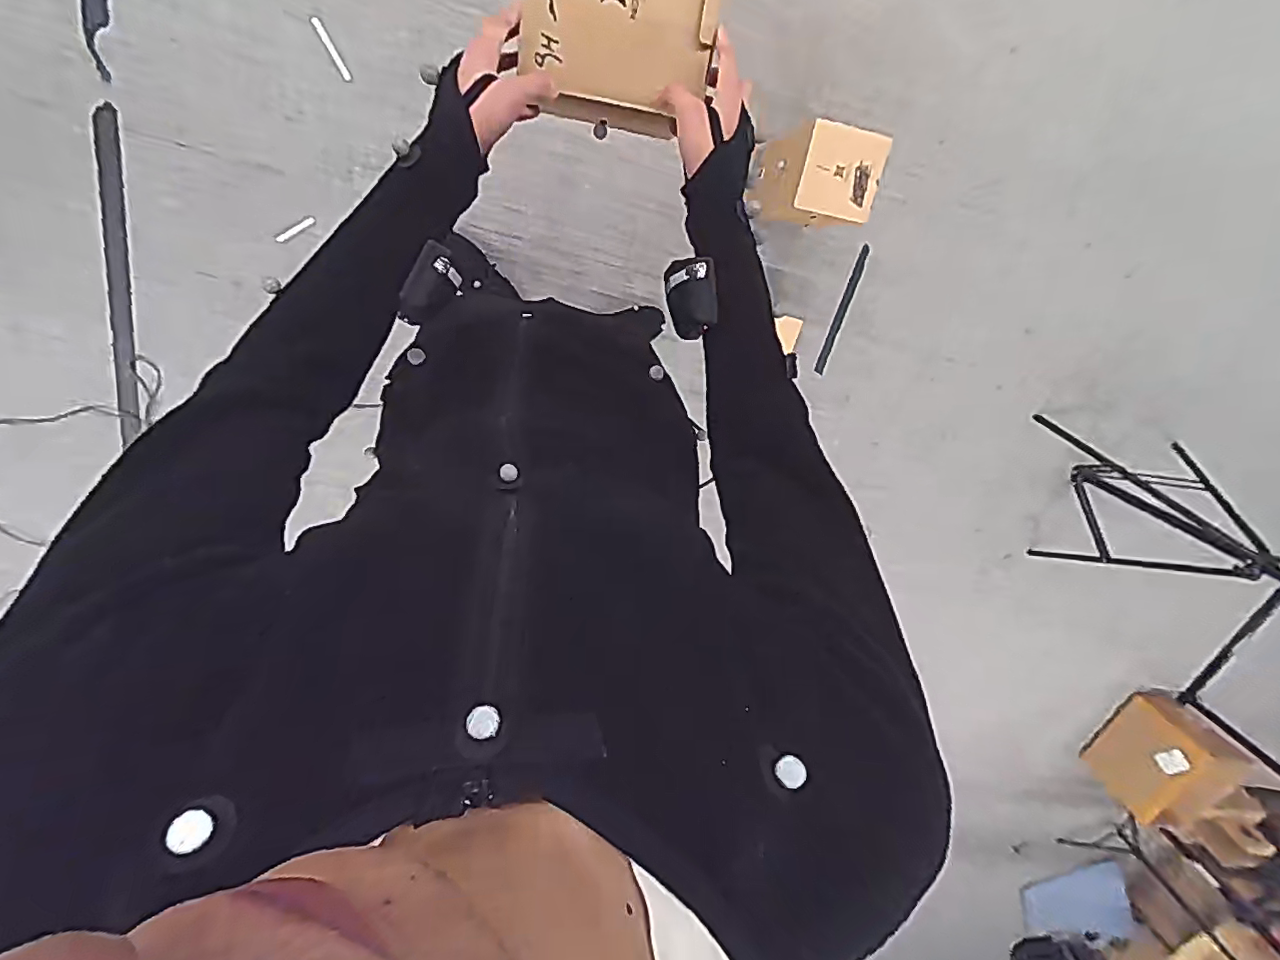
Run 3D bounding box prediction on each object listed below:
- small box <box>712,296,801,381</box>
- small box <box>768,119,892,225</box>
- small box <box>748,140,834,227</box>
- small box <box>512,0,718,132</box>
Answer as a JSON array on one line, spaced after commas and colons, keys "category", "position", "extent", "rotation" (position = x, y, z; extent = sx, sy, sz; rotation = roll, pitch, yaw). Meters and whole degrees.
[{"category": "small box", "position": [0.314, -0.398, 1.503], "extent": [0.168, 0.176, 0.179], "rotation": [13, 114, -13]}, {"category": "small box", "position": [0.411, -0.674, 1.198], "extent": [0.179, 0.176, 0.168], "rotation": [8, 114, -11]}, {"category": "small box", "position": [0.393, -0.738, 1.348], "extent": [0.179, 0.176, 0.168], "rotation": [6, 115, -11]}, {"category": "small box", "position": [-0.029, -0.460, 0.535], "extent": [0.179, 0.176, 0.168], "rotation": [5, 116, -12]}]
